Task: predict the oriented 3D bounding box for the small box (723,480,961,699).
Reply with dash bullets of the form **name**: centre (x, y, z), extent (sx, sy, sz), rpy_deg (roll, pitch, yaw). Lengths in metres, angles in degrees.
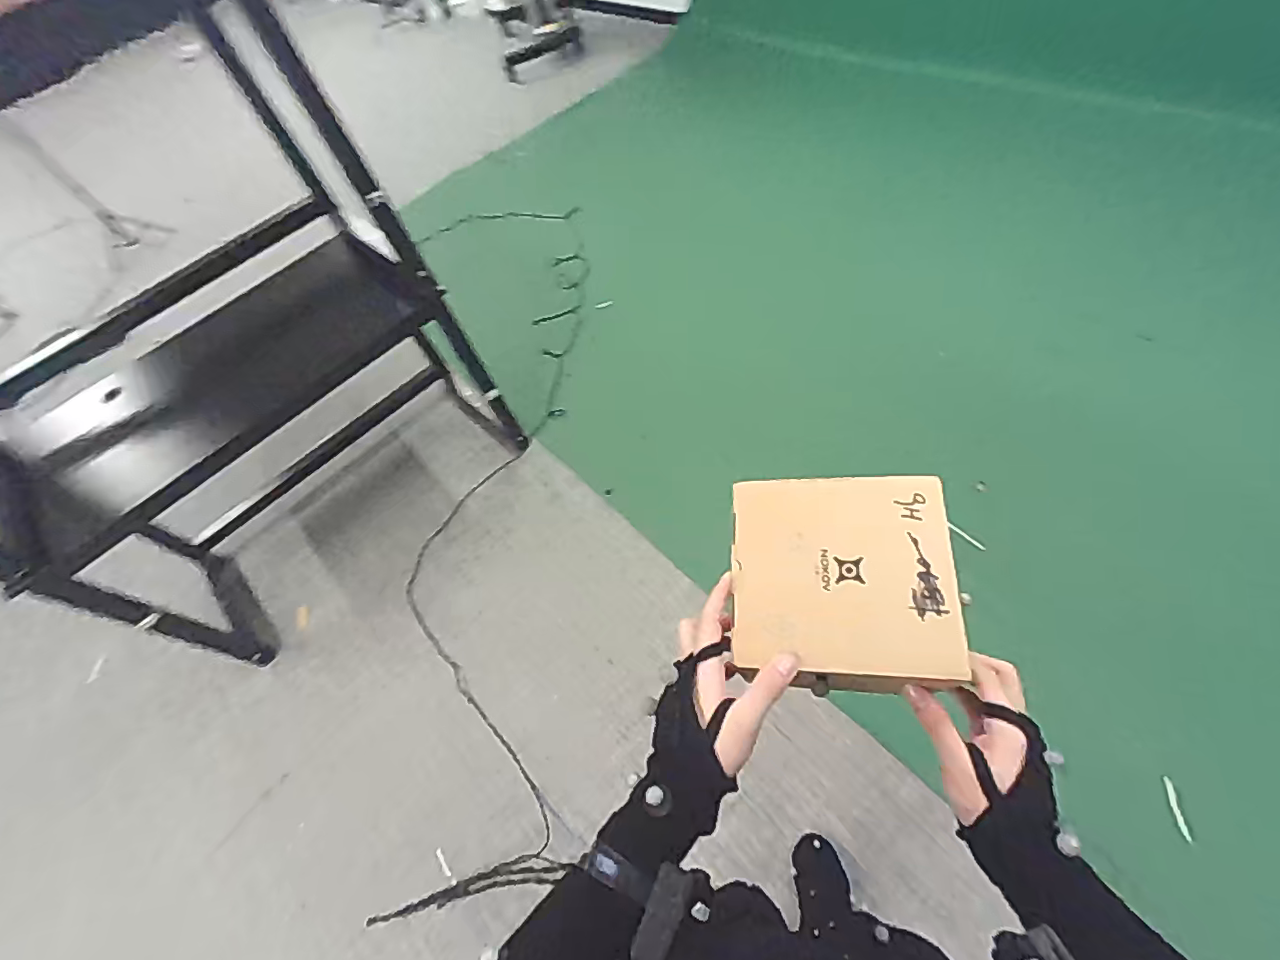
- **small box**: centre (0.180, 0.111, 0.516), extent (0.179, 0.176, 0.168), rpy_deg (-2, 64, 16)
